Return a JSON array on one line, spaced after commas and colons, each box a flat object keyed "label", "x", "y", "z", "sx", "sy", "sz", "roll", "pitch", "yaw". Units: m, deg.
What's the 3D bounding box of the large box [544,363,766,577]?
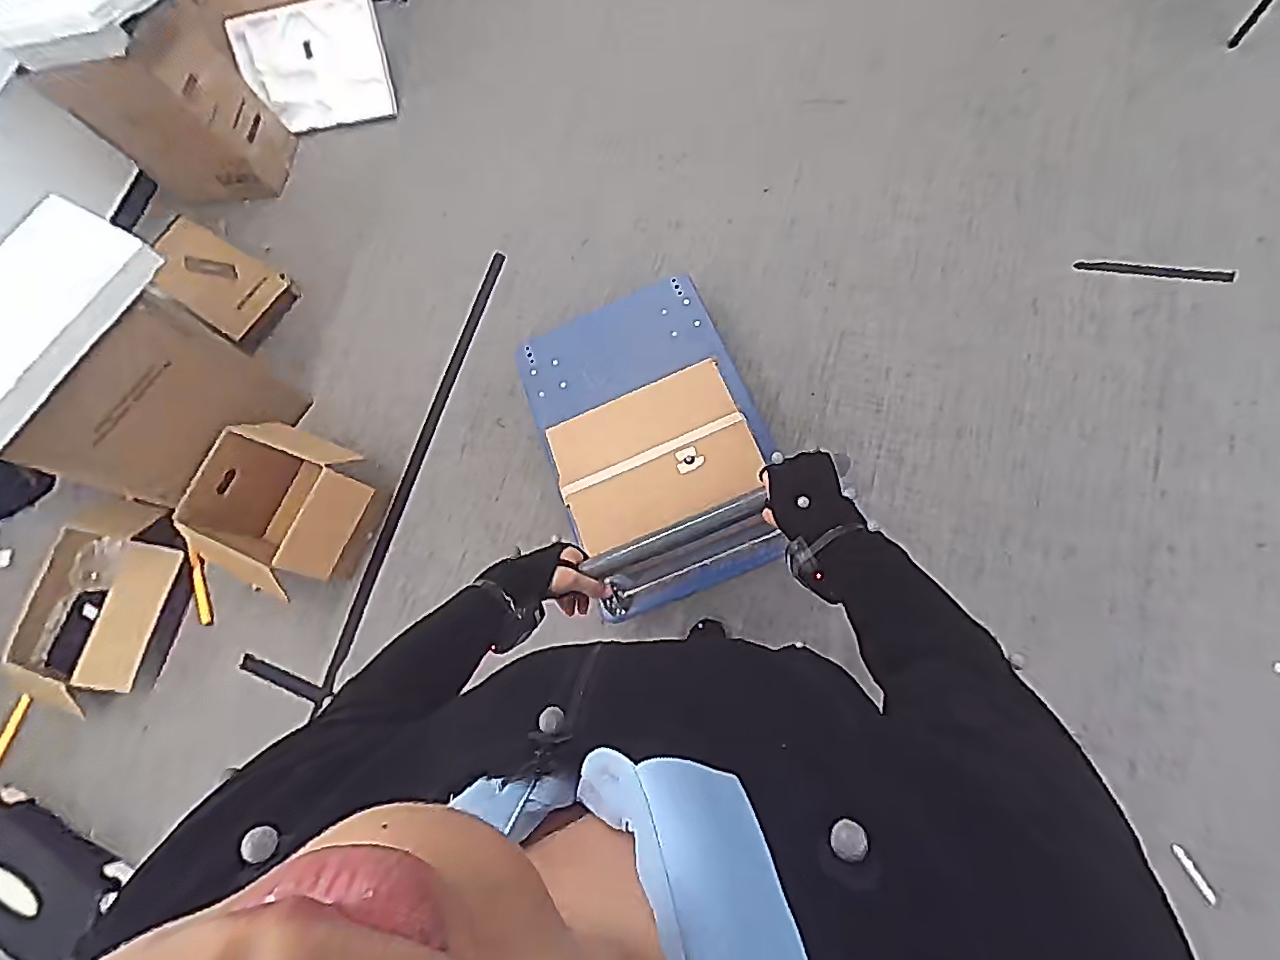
[{"label": "large box", "x": 0.046, "y": -0.002, "z": 1.275, "sx": 0.408, "sy": 0.320, "sz": 0.320, "roll": -23, "pitch": 71, "yaw": 4}]
